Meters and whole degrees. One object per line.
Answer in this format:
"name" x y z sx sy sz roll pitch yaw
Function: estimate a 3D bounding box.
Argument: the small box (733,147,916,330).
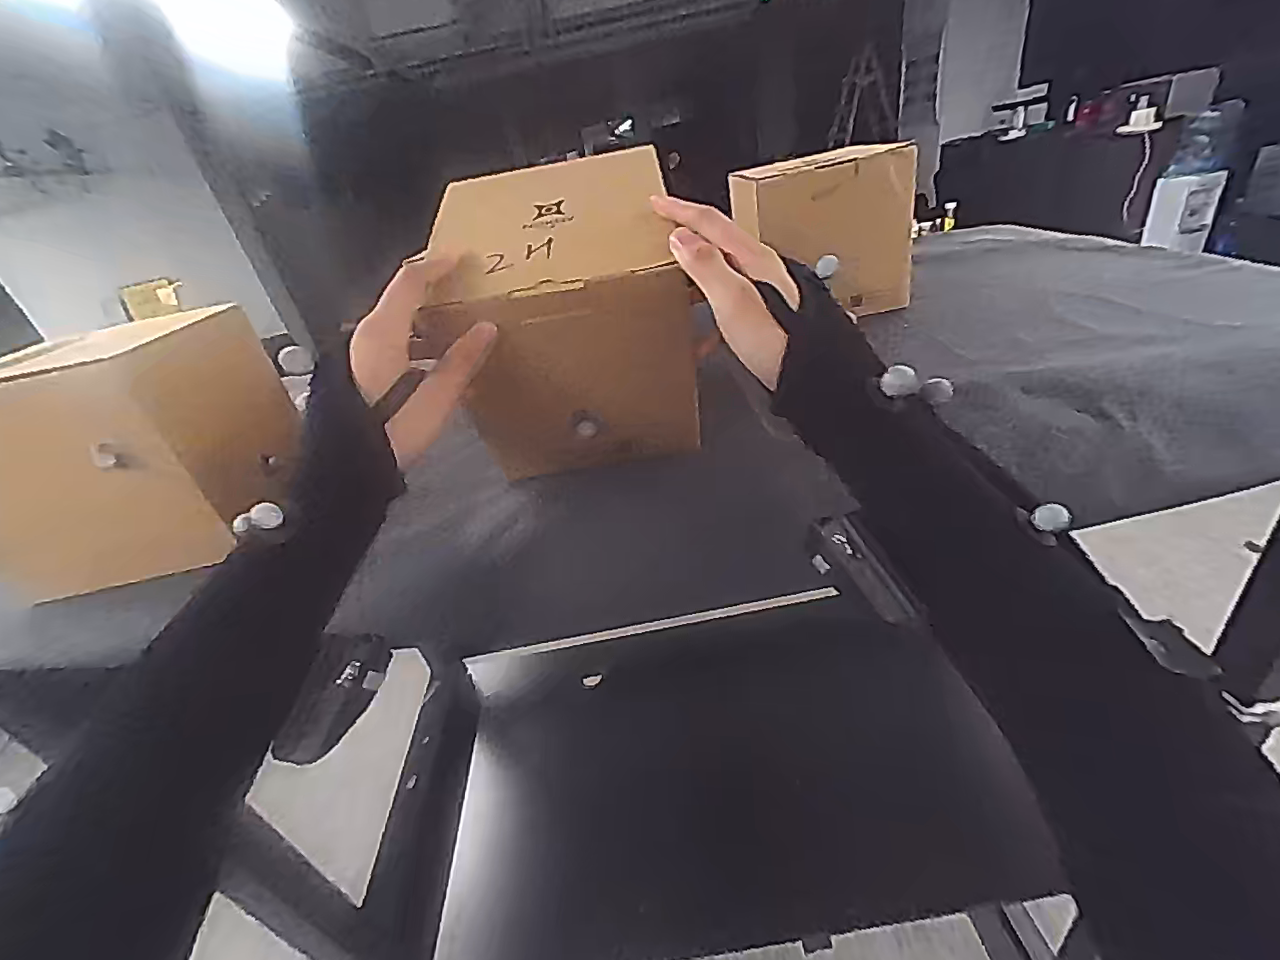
"small box" 0.216 -0.293 0.664 0.168 0.176 0.179 -10 30 4

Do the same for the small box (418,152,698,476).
"small box" -0.048 -0.128 0.432 0.168 0.176 0.179 -8 51 4
